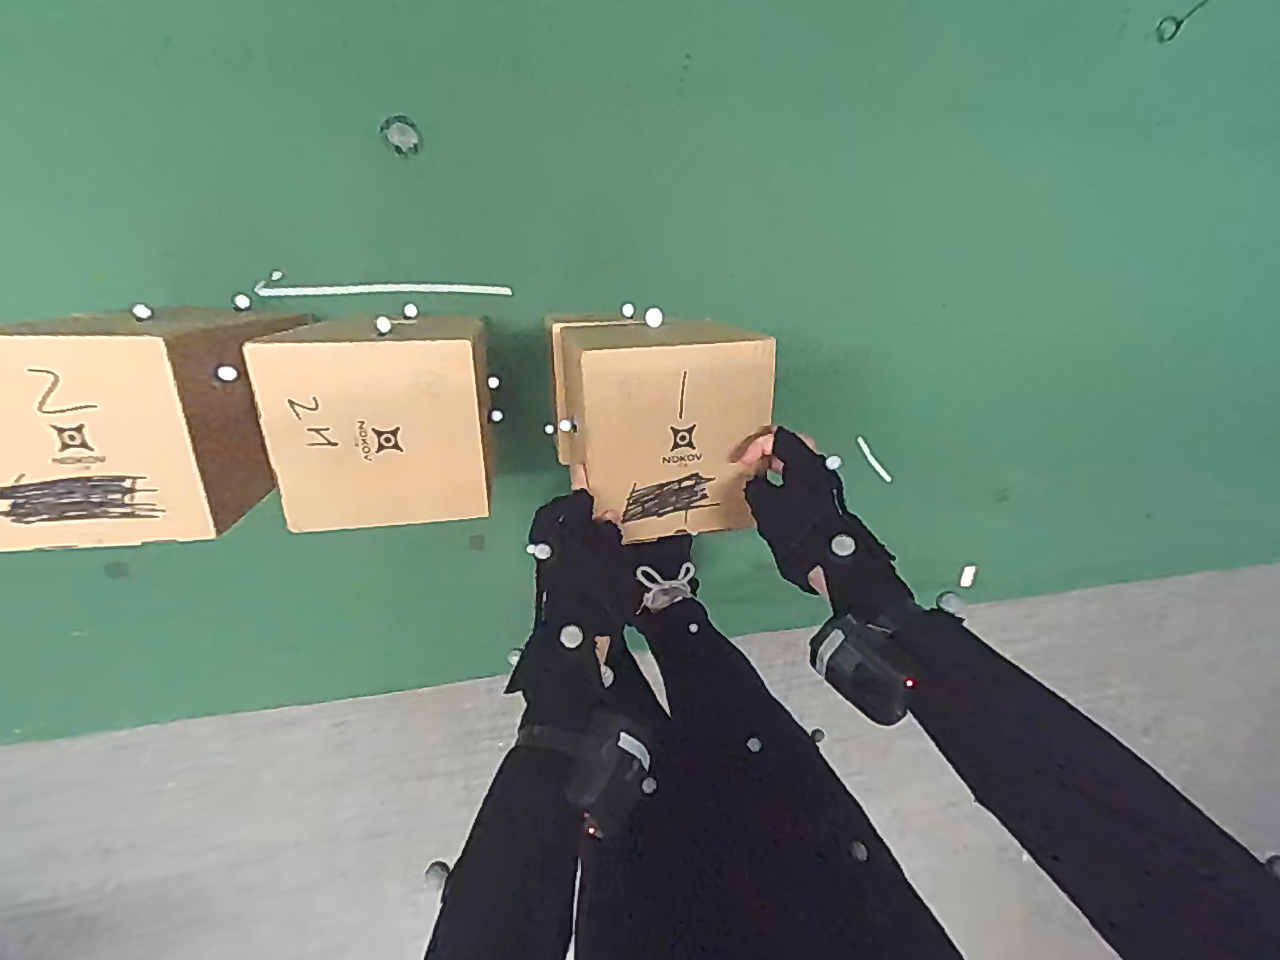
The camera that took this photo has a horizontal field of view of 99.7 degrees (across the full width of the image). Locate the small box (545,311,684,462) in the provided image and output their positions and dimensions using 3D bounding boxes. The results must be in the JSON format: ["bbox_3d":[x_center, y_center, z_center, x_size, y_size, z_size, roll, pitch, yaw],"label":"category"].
[{"bbox_3d":[-0.040,-0.138,0.745,0.168,0.176,0.179,-5,113,-11],"label":"small box"}]

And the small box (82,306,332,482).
[{"bbox_3d":[-0.496,-0.109,0.656,0.168,0.176,0.179,-1,111,-12],"label":"small box"}]

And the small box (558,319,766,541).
[{"bbox_3d":[0.011,-0.061,0.544,0.168,0.176,0.179,-7,113,-12],"label":"small box"}]
